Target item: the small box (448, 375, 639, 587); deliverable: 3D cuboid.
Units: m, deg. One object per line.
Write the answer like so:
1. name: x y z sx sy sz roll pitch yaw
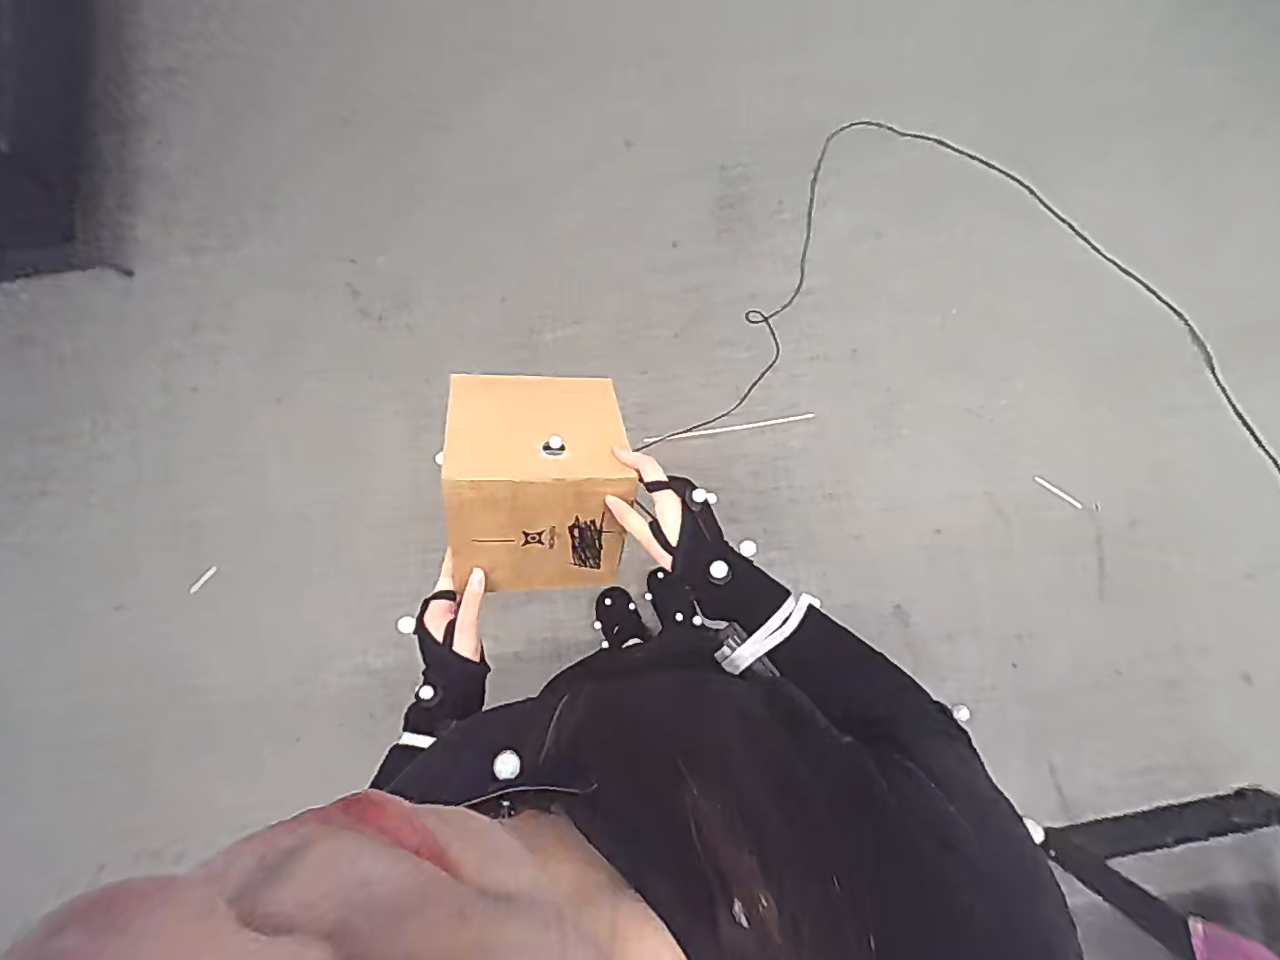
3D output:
1. small box: -0.111 -0.002 0.597 0.179 0.168 0.176 0 44 -13
